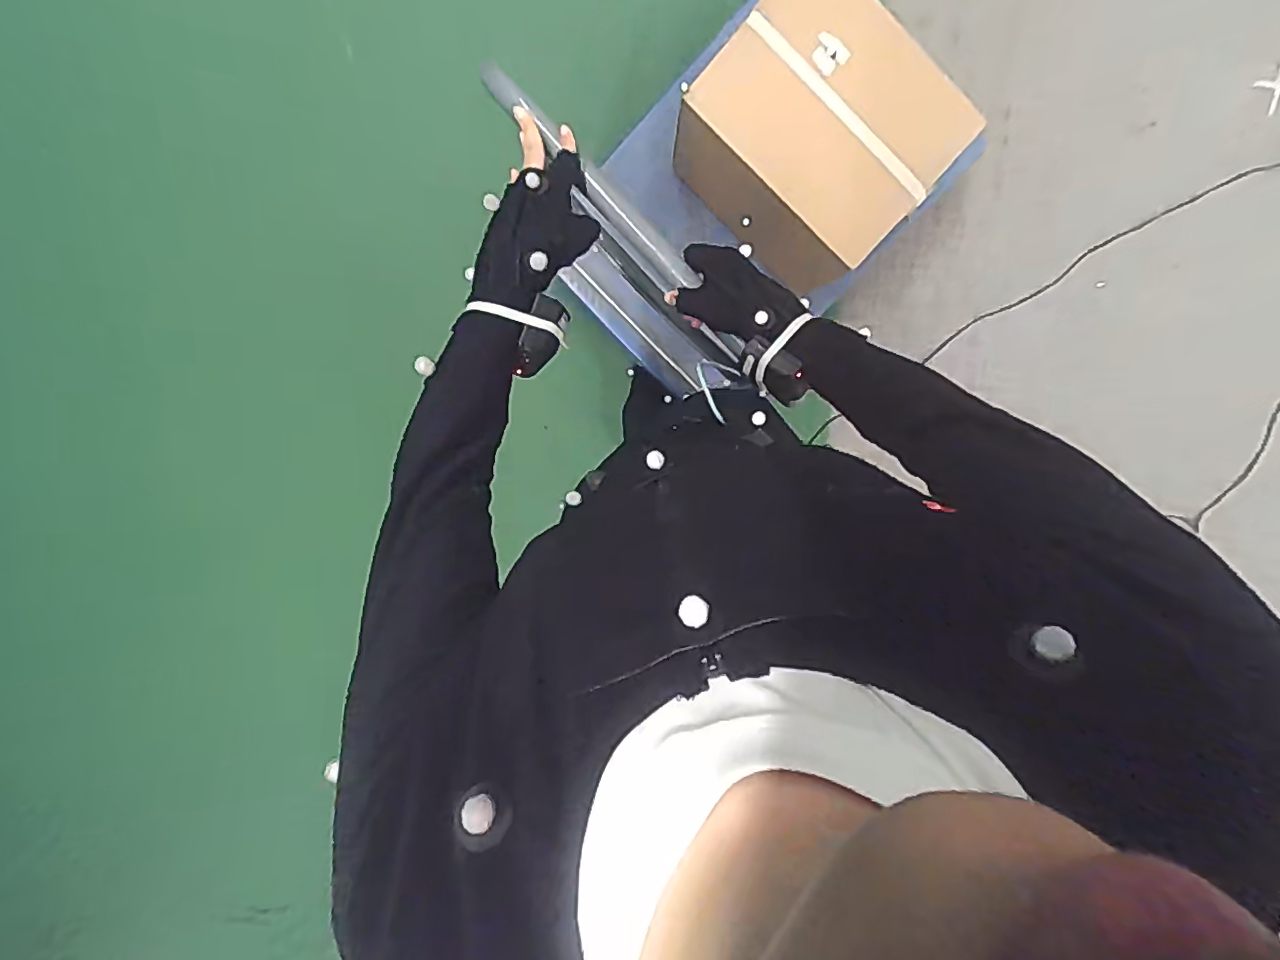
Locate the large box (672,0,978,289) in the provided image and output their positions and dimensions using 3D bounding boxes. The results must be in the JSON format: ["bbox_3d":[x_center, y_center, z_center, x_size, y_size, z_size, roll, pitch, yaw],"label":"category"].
[{"bbox_3d":[0.311,-0.637,1.031,0.408,0.320,0.320,42,97,-6],"label":"large box"}]
